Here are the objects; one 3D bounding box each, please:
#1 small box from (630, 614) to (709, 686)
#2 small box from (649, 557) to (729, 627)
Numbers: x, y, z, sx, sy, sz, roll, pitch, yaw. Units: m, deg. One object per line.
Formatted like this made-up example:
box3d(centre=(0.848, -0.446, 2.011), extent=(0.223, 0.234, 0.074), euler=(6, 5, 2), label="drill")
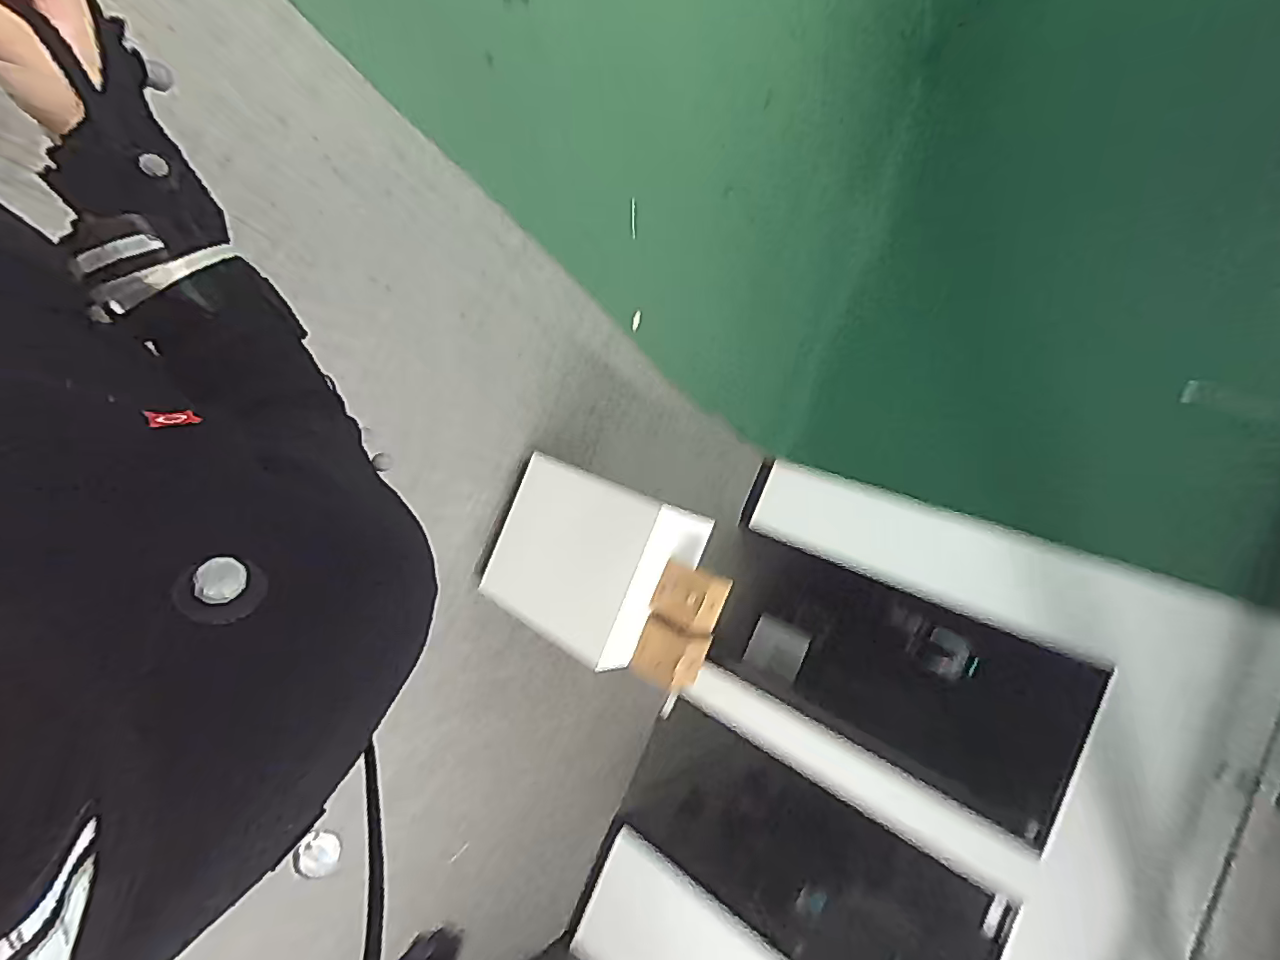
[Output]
box3d(centre=(0.094, 0.546, 1.758), extent=(0.179, 0.176, 0.168), euler=(21, 91, -58), label="small box")
box3d(centre=(0.158, 0.360, 1.743), extent=(0.179, 0.176, 0.168), euler=(28, 85, -57), label="small box")
